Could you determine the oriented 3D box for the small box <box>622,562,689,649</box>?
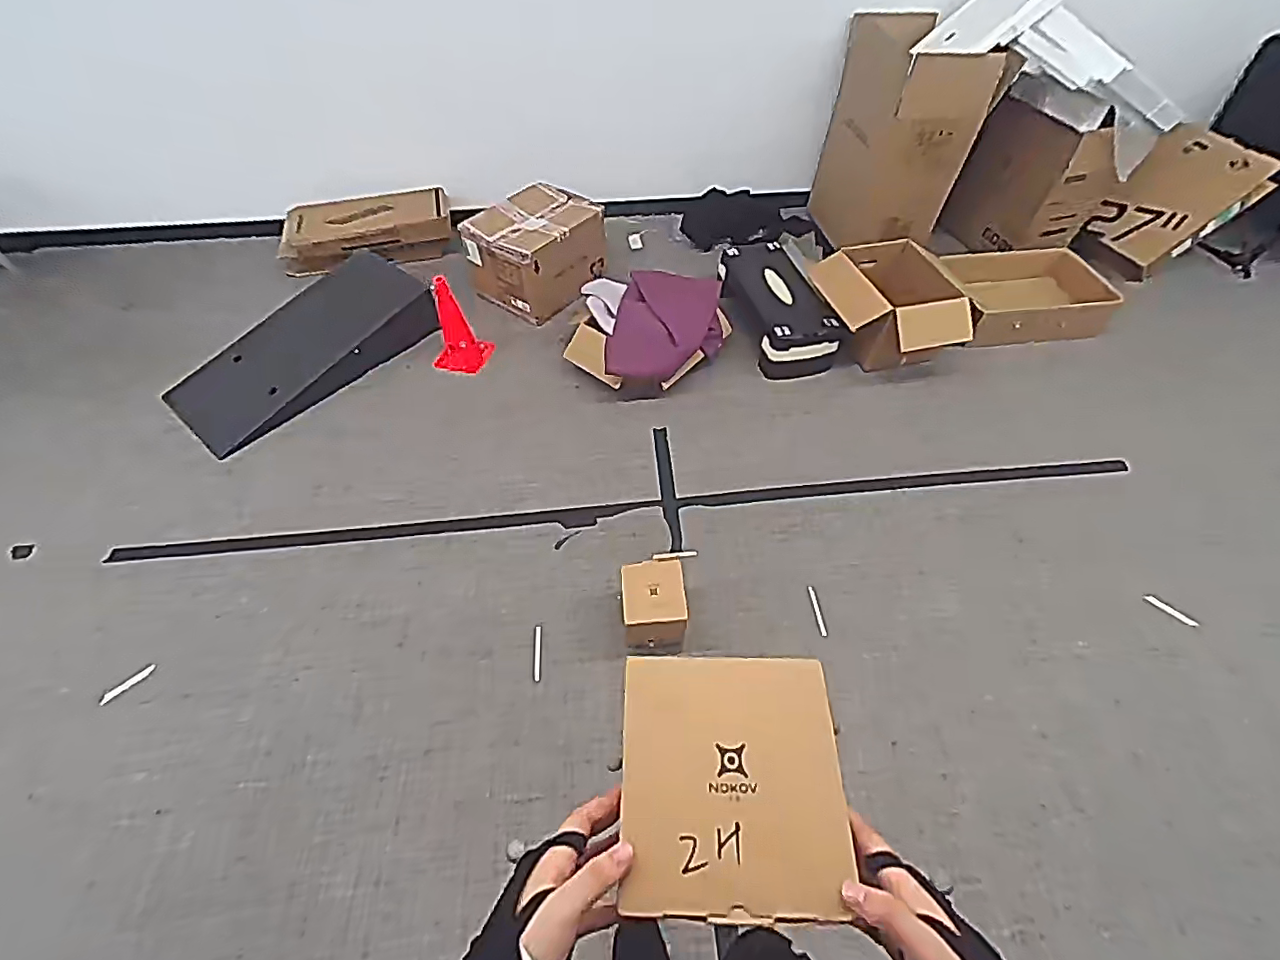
[{"bbox_3d":[0.038,0.346,1.482,0.168,0.176,0.179,-5,54,-2],"label":"small box"}]

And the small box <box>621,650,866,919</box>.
[{"bbox_3d":[0.073,0.263,0.471,0.168,0.176,0.179,0,55,3],"label":"small box"}]
